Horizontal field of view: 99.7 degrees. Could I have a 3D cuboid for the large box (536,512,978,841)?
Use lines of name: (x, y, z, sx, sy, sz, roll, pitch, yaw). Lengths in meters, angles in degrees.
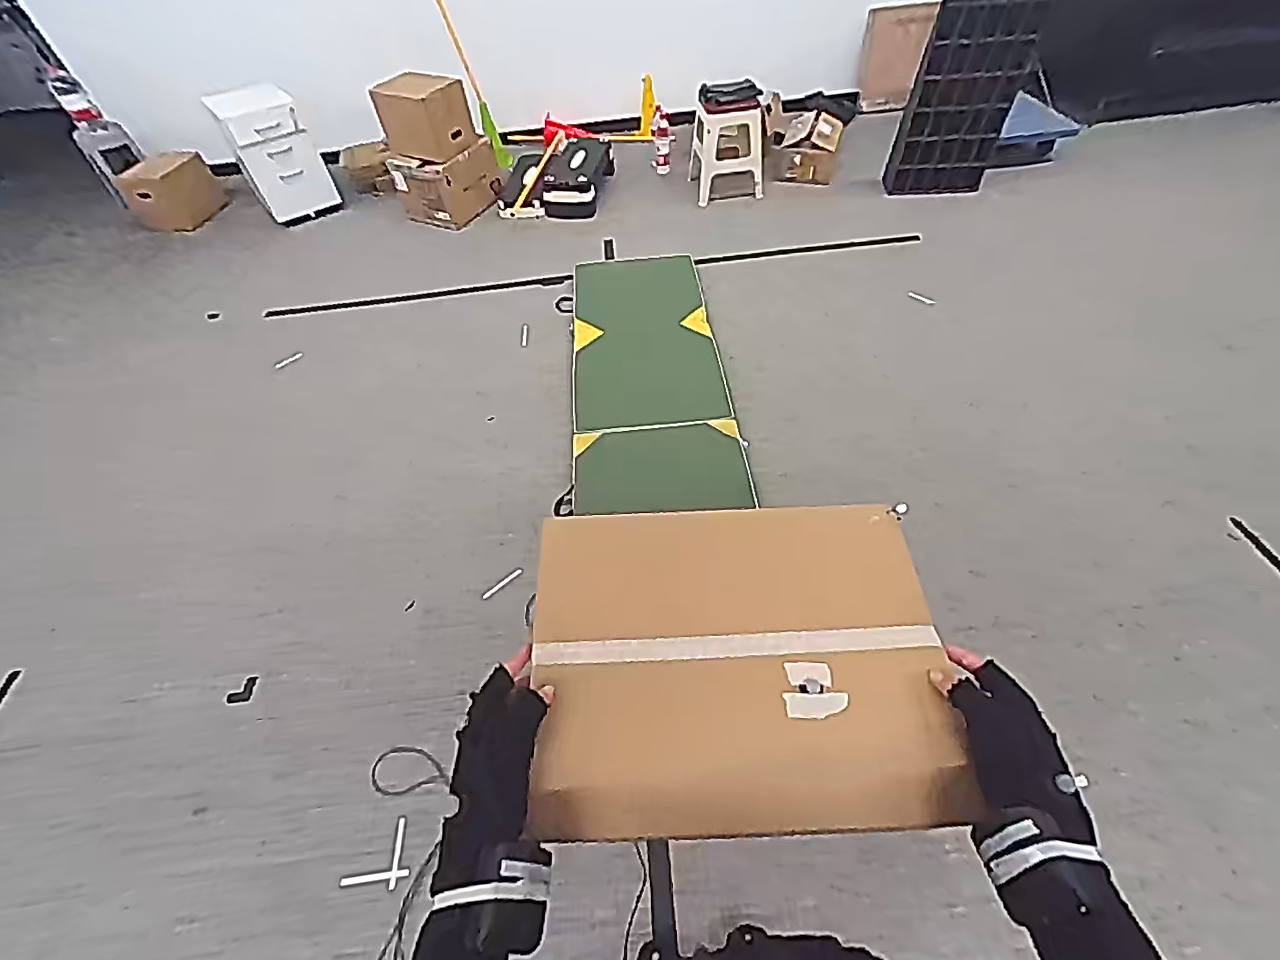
large box: (0.098, 0.258, 0.681, 0.408, 0.320, 0.320, -2, 57, -1)
